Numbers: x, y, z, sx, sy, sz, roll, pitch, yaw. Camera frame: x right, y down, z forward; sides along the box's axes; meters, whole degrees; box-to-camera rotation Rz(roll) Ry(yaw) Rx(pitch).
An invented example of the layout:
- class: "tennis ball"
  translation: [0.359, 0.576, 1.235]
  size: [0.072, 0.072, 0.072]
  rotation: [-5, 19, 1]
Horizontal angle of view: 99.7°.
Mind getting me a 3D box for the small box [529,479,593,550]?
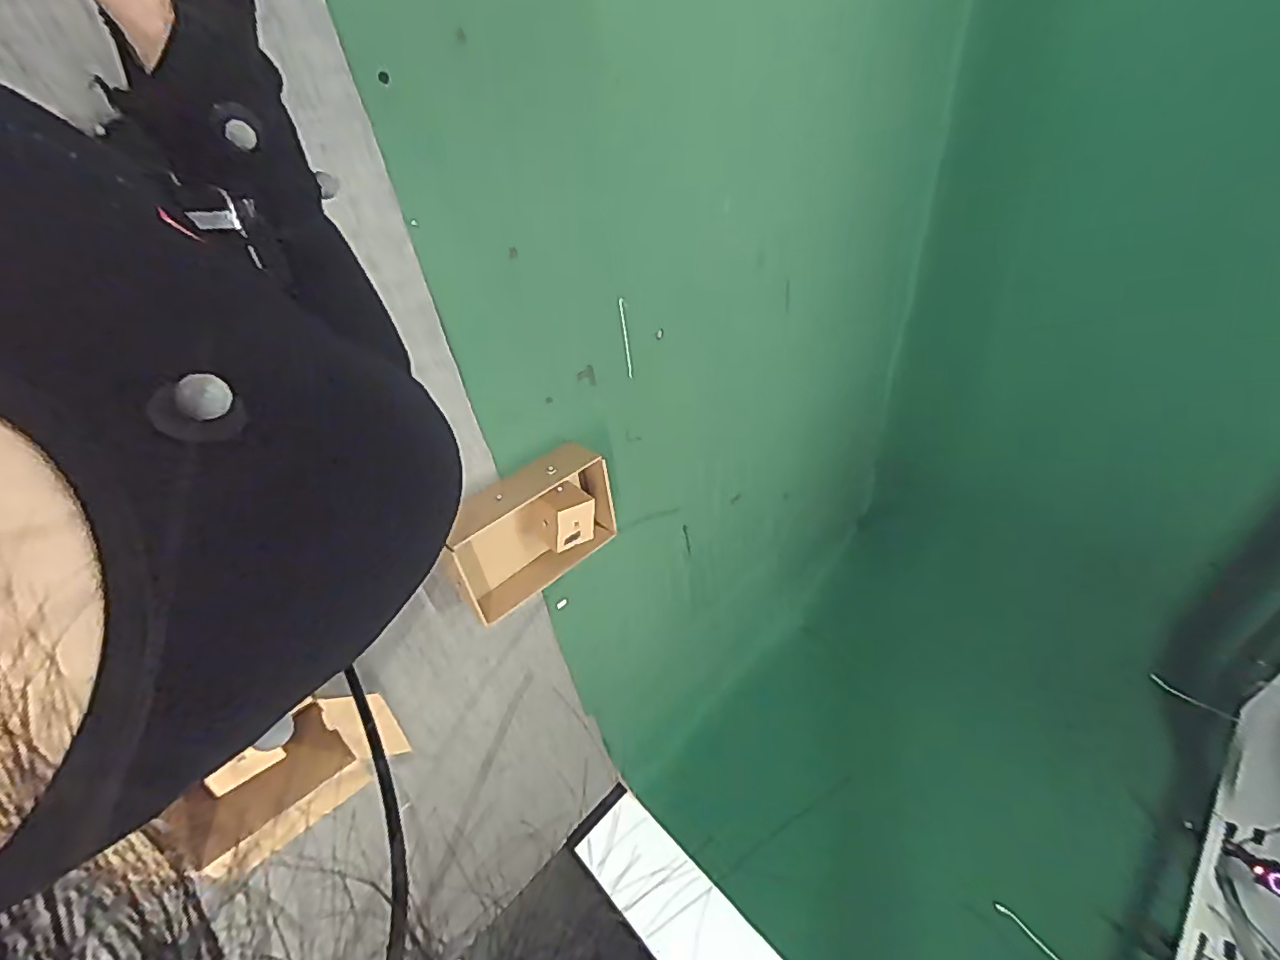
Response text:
- class: "small box"
  translation: [-0.294, 0.122, 1.984]
  size: [0.168, 0.176, 0.179]
  rotation: [-20, 128, -39]
